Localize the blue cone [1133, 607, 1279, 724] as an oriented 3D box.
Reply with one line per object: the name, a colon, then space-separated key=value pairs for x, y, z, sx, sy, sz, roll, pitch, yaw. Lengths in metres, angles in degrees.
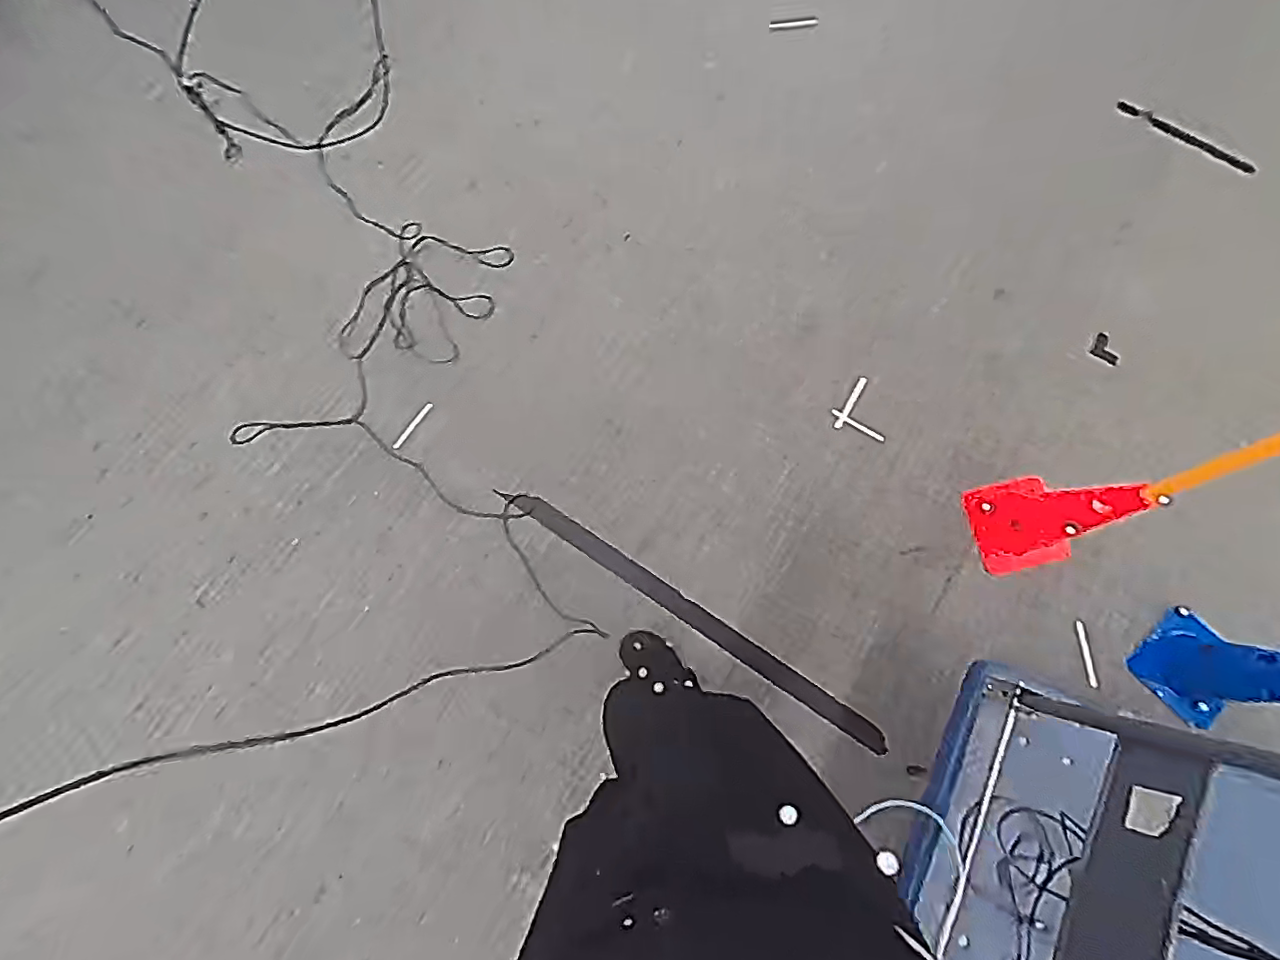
blue cone: x=1.186 y=0.360 z=1.008 sx=0.193 sy=0.380 sz=0.192 roll=-41 pitch=78 yaw=-8

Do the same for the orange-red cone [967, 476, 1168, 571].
orange-red cone: x=0.865 y=0.061 z=1.070 sx=0.198 sy=0.360 sz=0.199 roll=-11 pitch=78 yaw=-1
